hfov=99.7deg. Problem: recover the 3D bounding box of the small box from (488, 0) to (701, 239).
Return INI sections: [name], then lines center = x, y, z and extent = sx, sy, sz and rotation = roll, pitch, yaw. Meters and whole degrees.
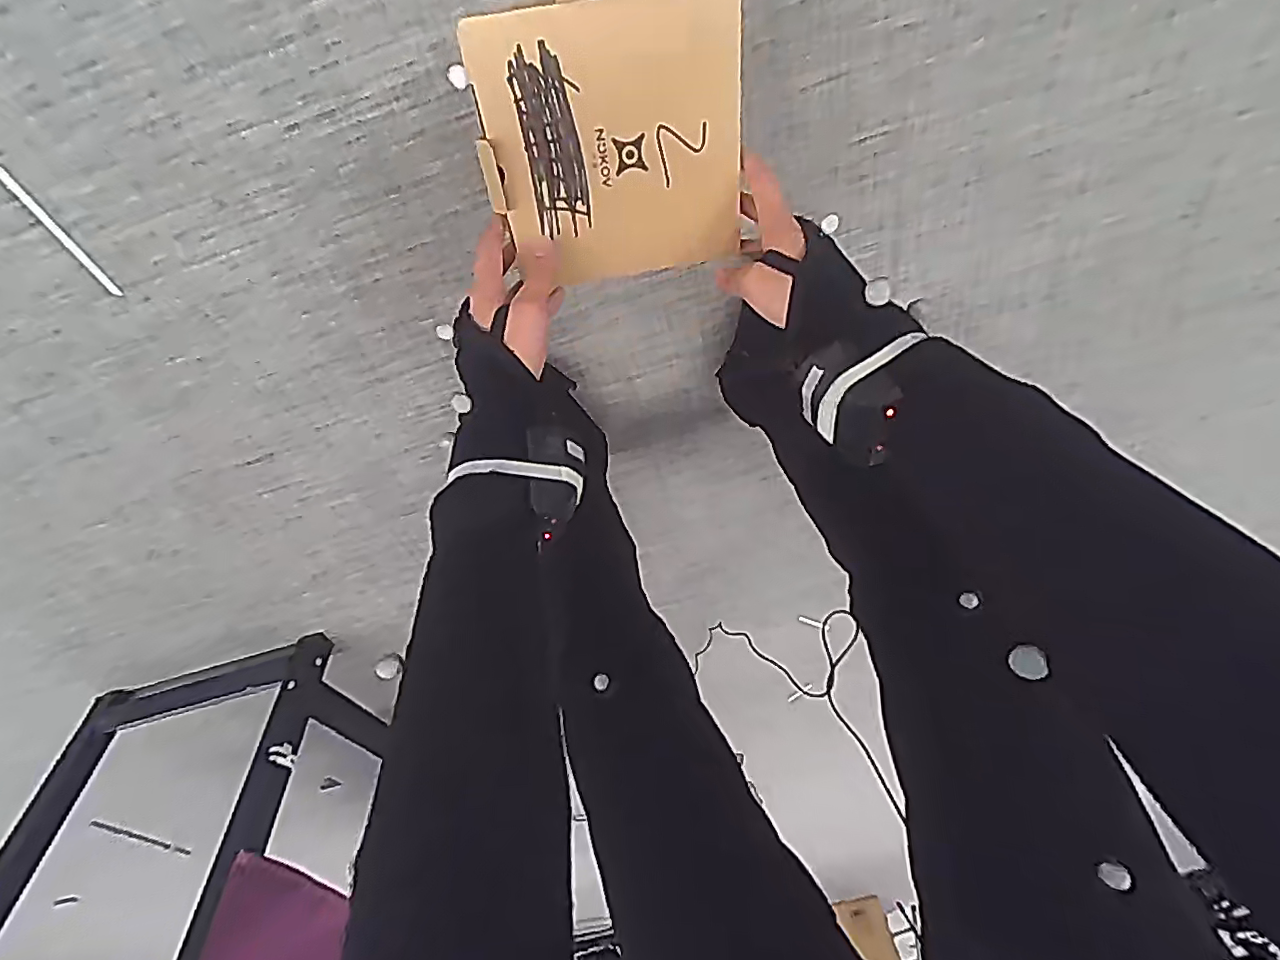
[small box]
center = -0.041, -0.380, 0.557
extent = 0.168, 0.176, 0.179
rotation = -14, 132, 2
